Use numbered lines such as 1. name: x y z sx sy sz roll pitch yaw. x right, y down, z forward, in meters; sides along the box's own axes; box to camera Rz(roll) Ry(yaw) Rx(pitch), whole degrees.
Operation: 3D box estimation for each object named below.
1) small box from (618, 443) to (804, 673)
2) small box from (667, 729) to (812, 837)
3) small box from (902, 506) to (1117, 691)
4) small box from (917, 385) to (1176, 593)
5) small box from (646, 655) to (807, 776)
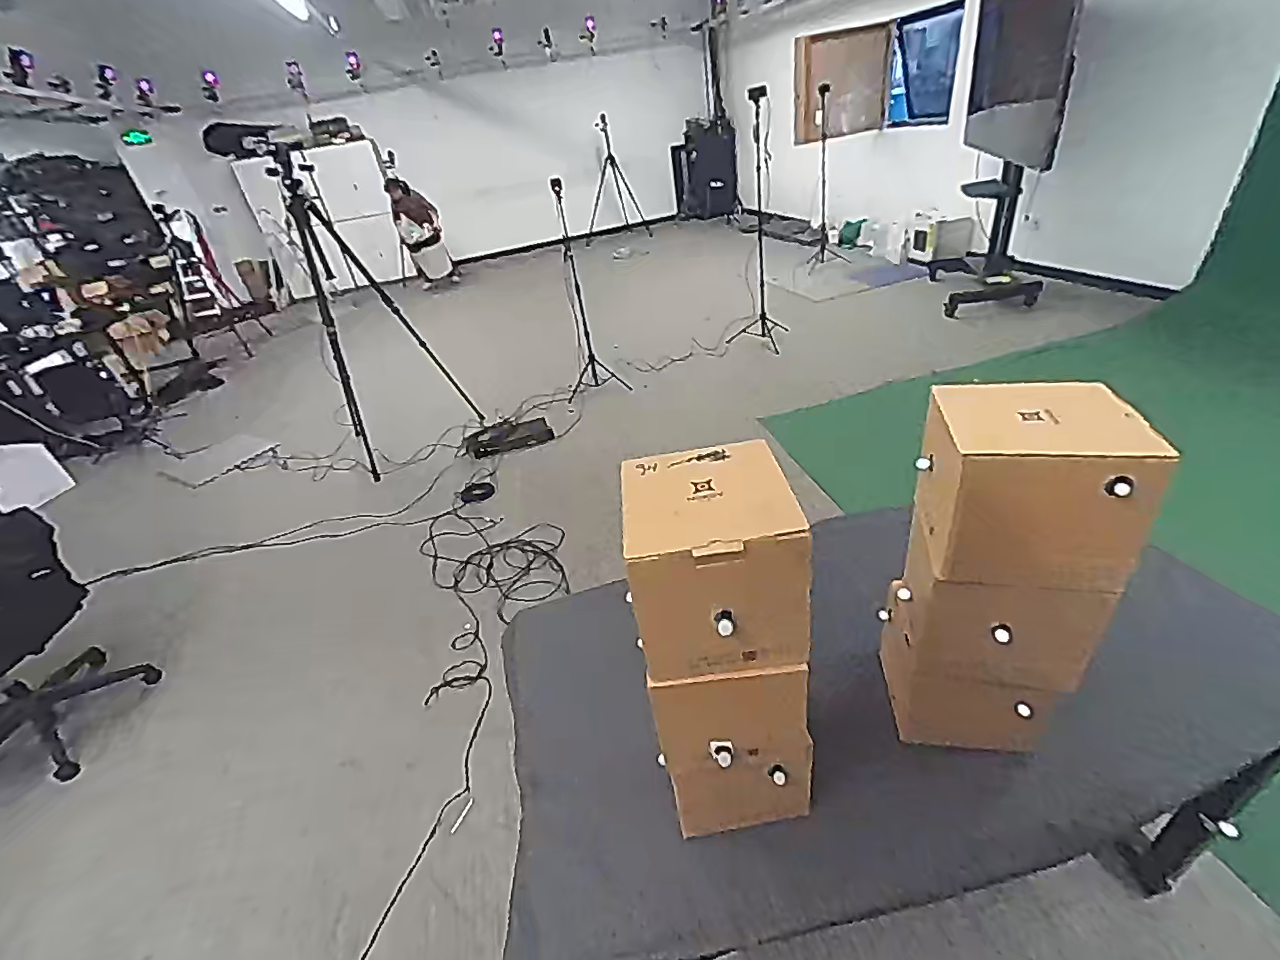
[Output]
1. small box: 0.072 0.085 0.576 0.168 0.176 0.179 -9 33 4
2. small box: 0.123 0.358 0.749 0.179 0.176 0.168 -11 32 -1
3. small box: 0.444 0.141 0.686 0.179 0.176 0.168 2 34 19
4. small box: 0.417 0.007 0.599 0.179 0.176 0.168 2 33 16
5. small box: 0.098 0.225 0.658 0.168 0.176 0.179 -9 33 4
